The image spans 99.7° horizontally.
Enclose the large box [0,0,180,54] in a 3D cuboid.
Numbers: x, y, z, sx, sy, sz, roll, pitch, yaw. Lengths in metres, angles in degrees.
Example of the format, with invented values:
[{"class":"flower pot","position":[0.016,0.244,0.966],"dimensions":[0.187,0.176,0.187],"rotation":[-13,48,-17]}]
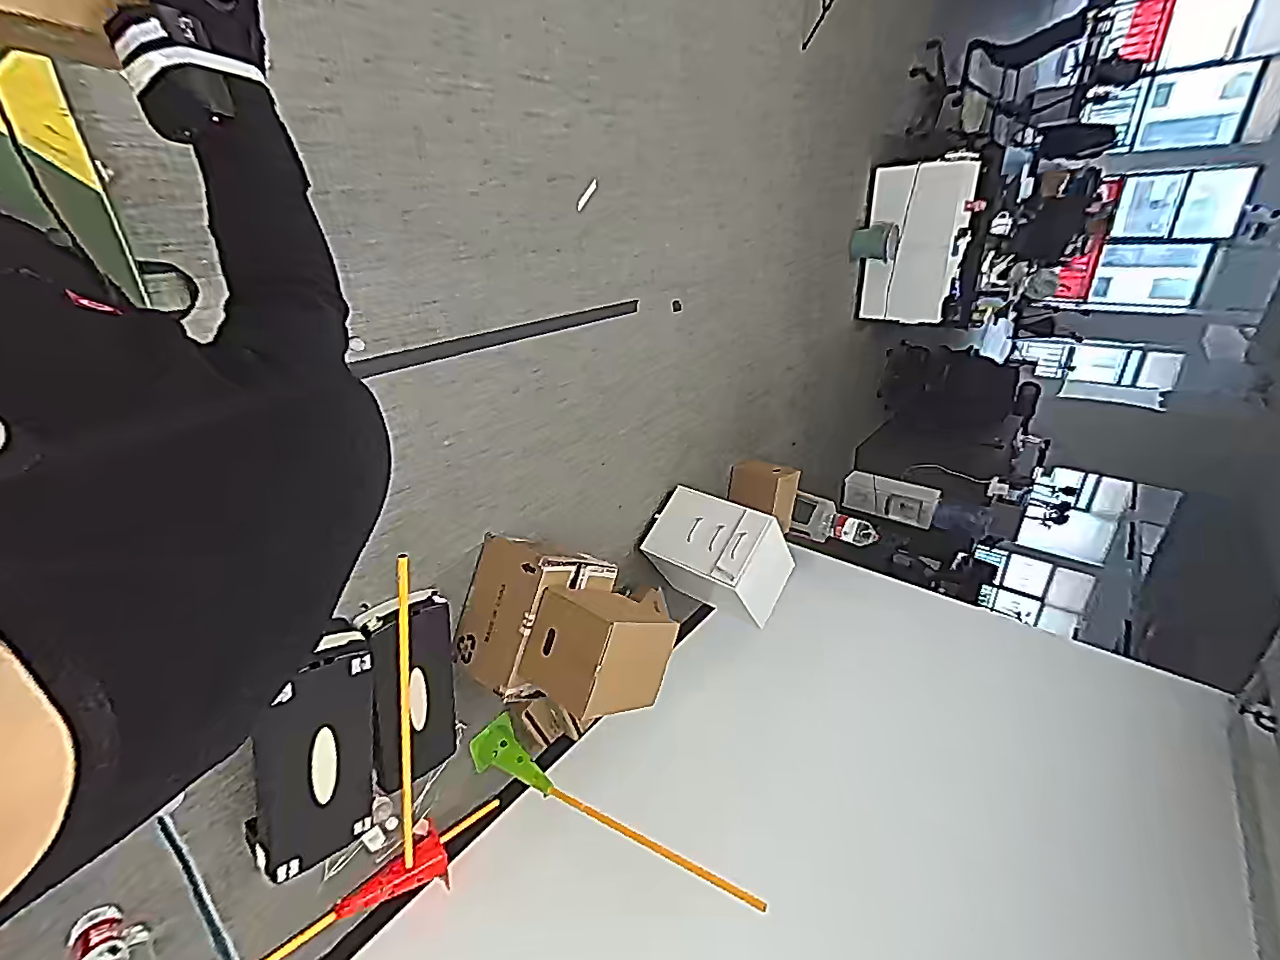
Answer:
[{"class":"large box","position":[-0.574,-0.476,0.290],"dimensions":[0.408,0.320,0.320],"rotation":[-21,130,-44]}]
